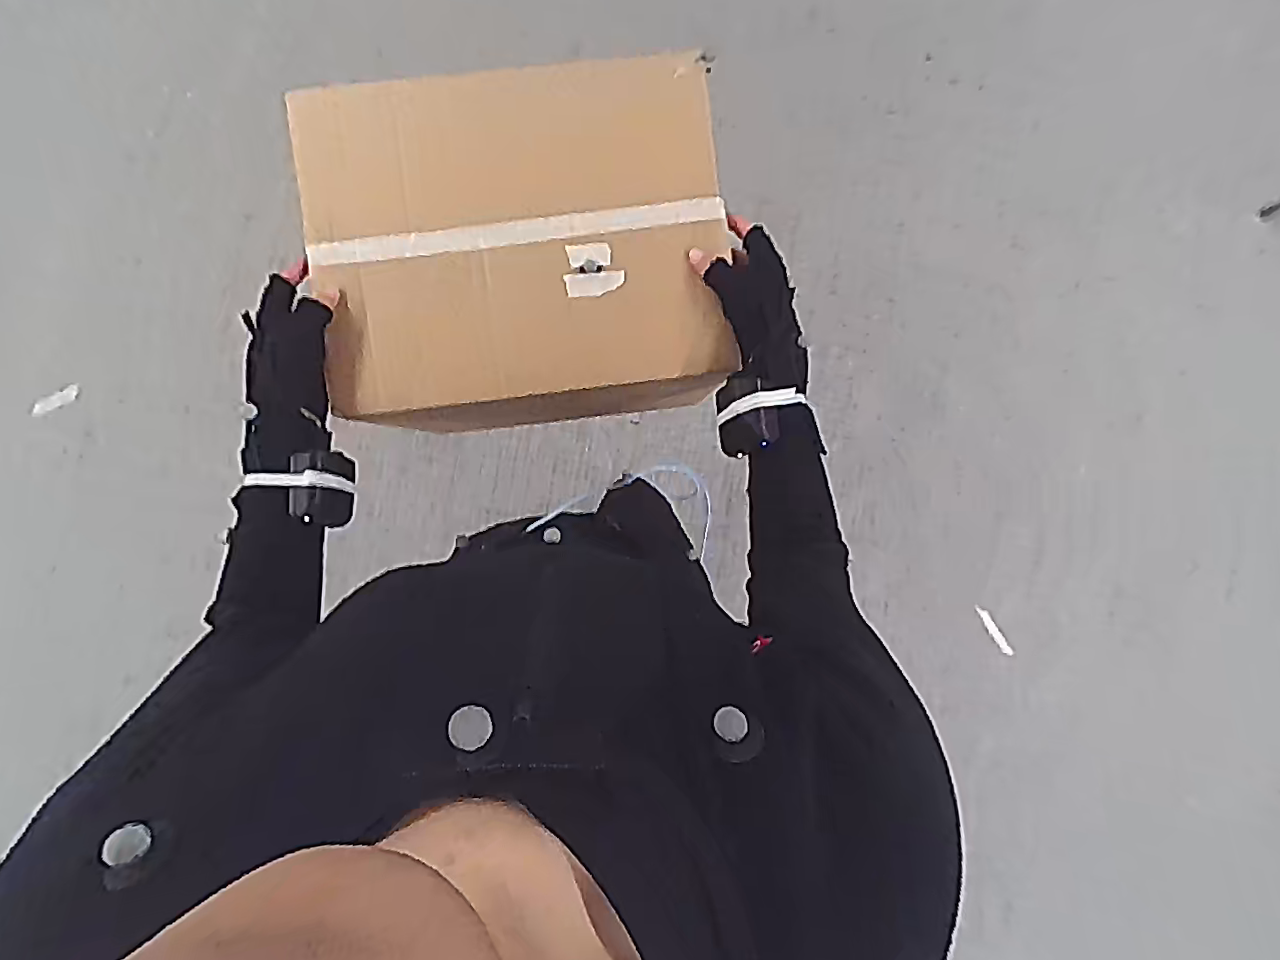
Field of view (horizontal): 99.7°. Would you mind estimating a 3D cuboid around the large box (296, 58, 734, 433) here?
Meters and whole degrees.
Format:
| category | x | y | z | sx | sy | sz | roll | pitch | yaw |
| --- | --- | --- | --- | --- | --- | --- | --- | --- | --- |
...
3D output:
| category | x | y | z | sx | sy | sz | roll | pitch | yaw |
| --- | --- | --- | --- | --- | --- | --- | --- | --- | --- |
| large box | -0.128 | -0.248 | 0.687 | 0.408 | 0.320 | 0.320 | -8 | 93 | -3 |
